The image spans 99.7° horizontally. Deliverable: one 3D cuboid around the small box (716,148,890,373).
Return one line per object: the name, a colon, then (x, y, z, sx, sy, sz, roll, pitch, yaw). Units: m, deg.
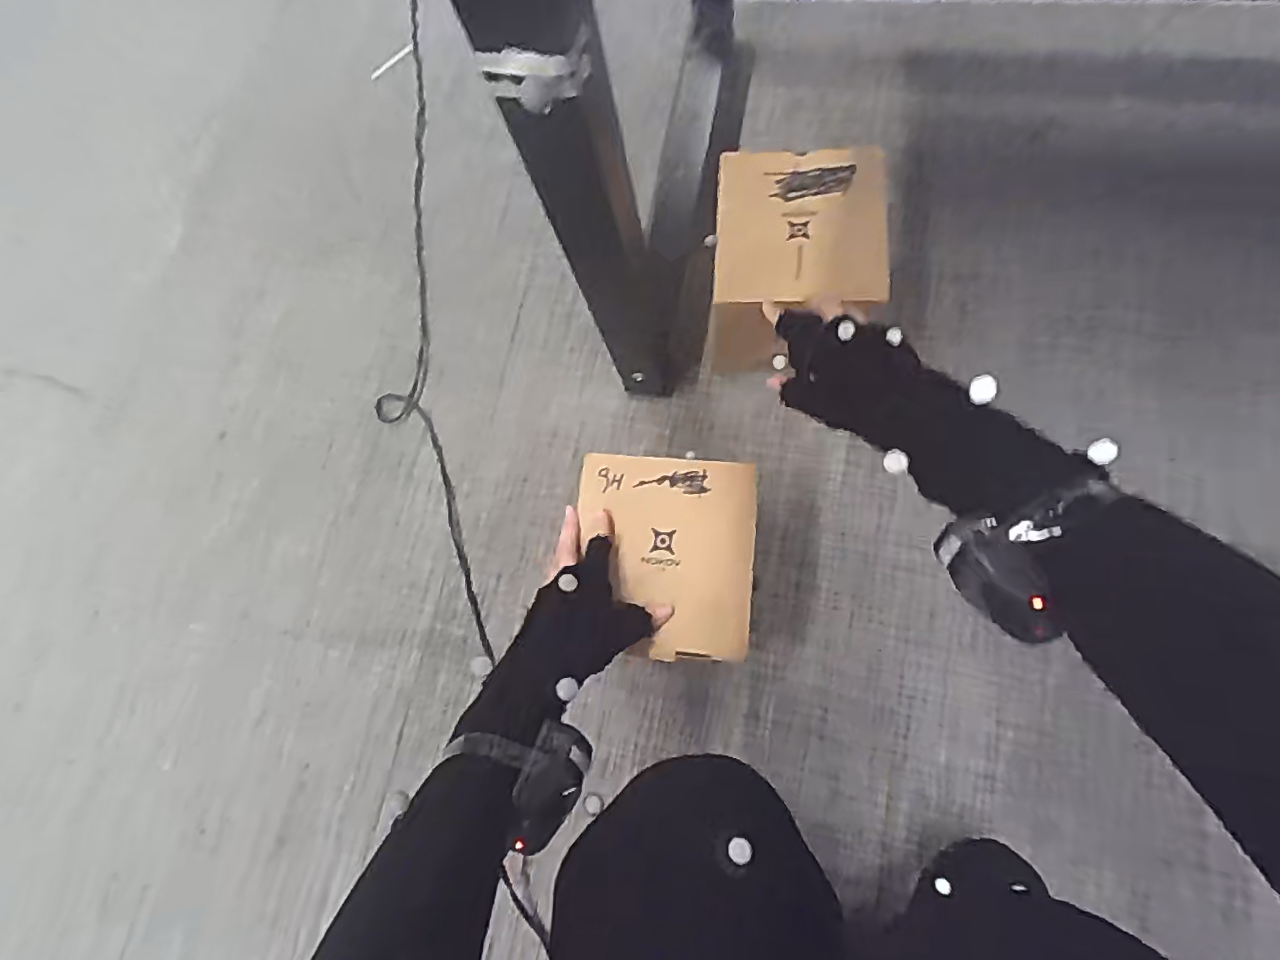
small box: (0.174, -0.240, 0.619, 0.168, 0.176, 0.179, 3, 78, 9)
